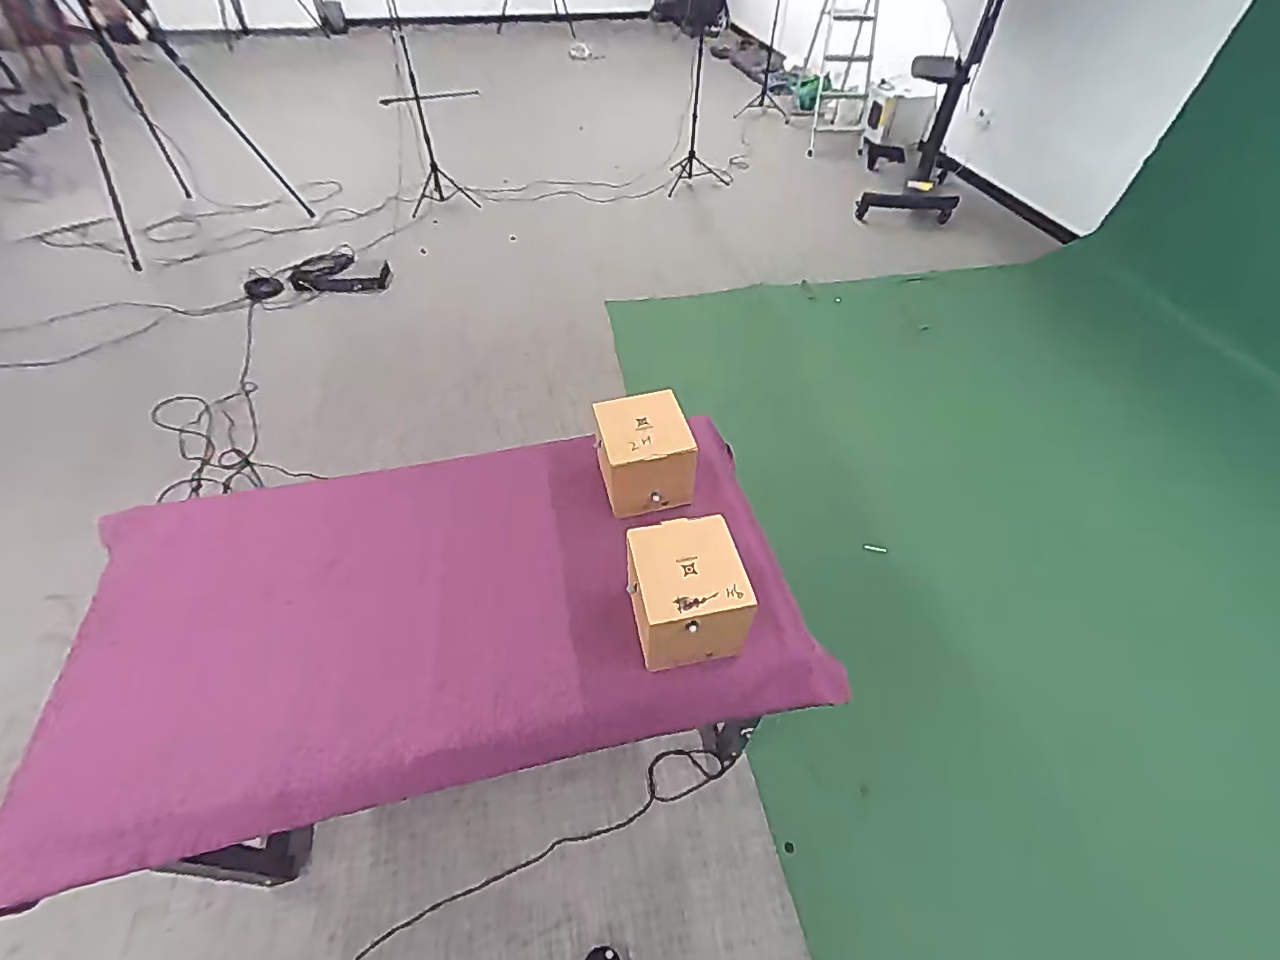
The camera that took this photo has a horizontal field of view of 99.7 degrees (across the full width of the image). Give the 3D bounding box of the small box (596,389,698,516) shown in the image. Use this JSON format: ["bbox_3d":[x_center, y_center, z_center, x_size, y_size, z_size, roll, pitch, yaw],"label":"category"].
[{"bbox_3d":[0.010,-0.055,1.093,0.168,0.176,0.179,-12,51,-8],"label":"small box"}]

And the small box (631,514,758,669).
[{"bbox_3d":[0.078,0.183,0.892,0.168,0.176,0.179,-9,48,-8],"label":"small box"}]
